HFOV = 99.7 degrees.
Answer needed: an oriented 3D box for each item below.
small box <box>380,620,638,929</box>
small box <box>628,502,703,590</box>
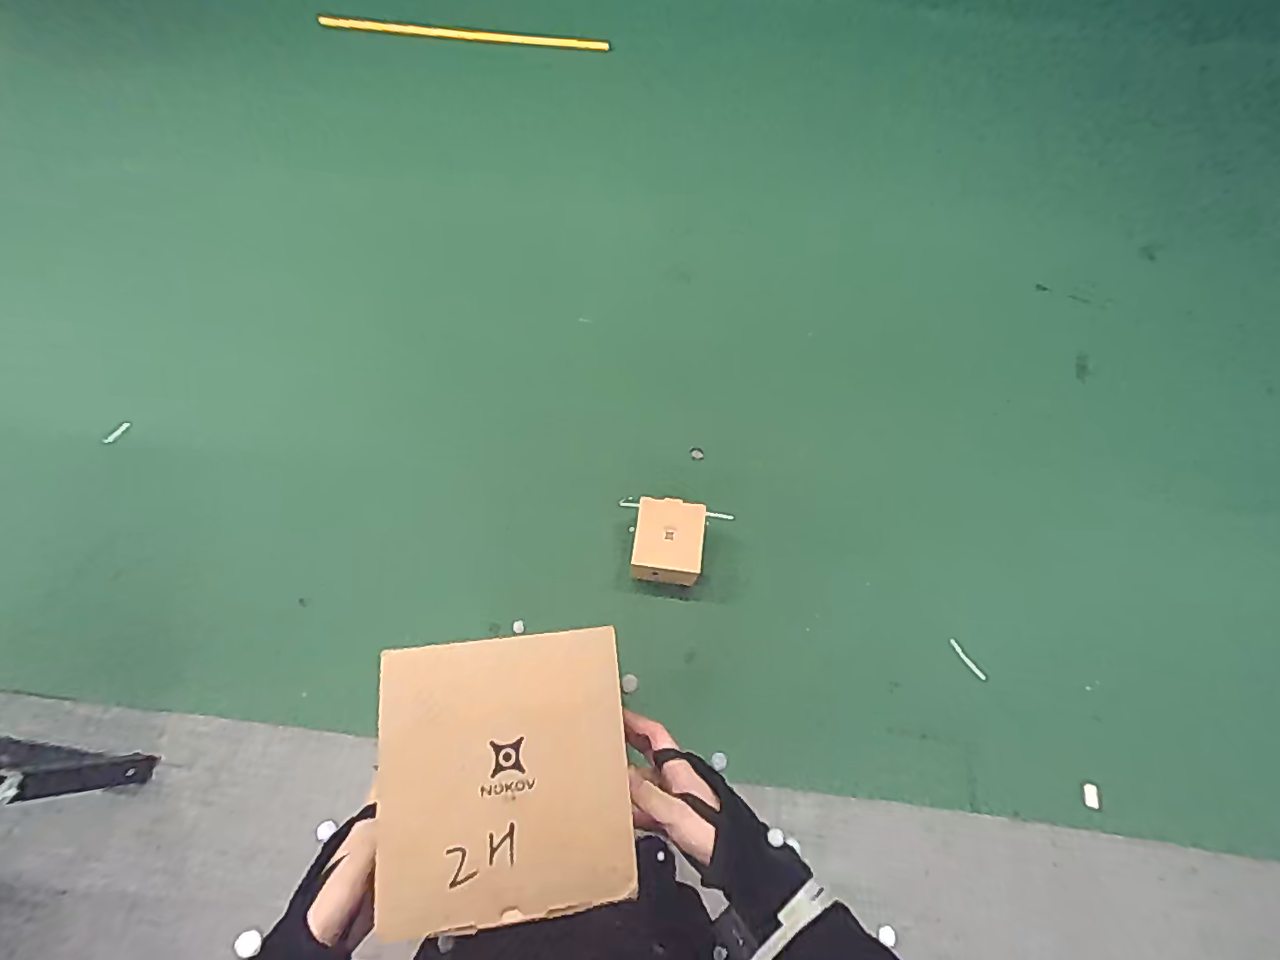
[{"bbox_3d":[-0.100,0.218,0.448,0.168,0.176,0.179,-3,73,-9],"label":"small box"},{"bbox_3d":[0.065,0.174,1.377,0.168,0.176,0.179,7,66,2],"label":"small box"}]
